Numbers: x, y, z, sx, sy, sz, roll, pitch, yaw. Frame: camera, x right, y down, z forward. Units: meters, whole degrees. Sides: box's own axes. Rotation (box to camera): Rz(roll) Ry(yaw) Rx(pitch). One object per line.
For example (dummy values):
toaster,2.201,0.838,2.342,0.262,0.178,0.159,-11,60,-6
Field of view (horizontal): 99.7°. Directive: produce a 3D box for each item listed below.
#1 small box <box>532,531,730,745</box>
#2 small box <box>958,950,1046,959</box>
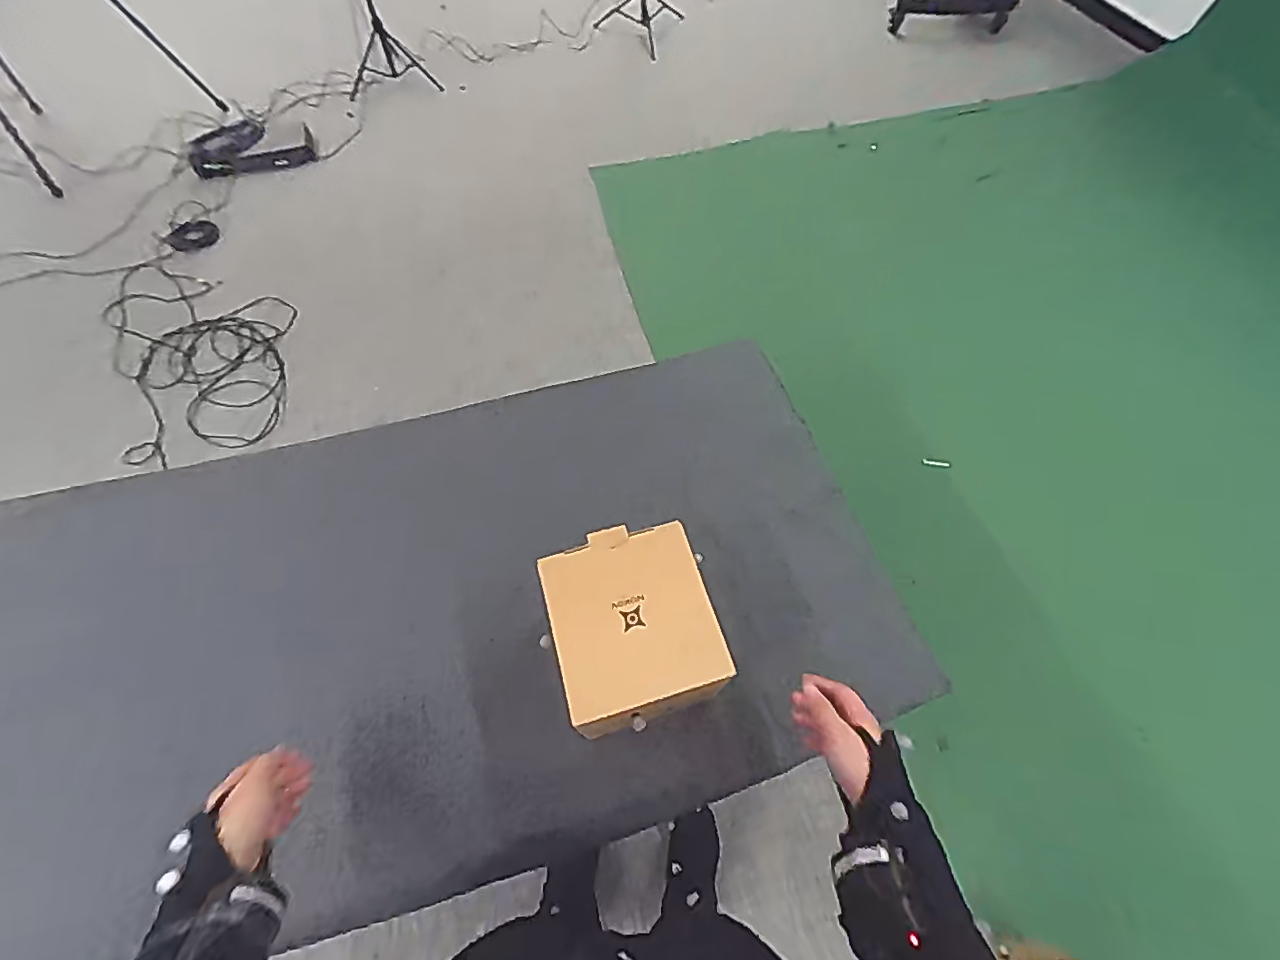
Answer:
small box,-0.012,0.186,0.612,0.168,0.176,0.179,-15,61,-8
small box,0.713,0.995,0.993,0.179,0.176,0.168,0,62,0
